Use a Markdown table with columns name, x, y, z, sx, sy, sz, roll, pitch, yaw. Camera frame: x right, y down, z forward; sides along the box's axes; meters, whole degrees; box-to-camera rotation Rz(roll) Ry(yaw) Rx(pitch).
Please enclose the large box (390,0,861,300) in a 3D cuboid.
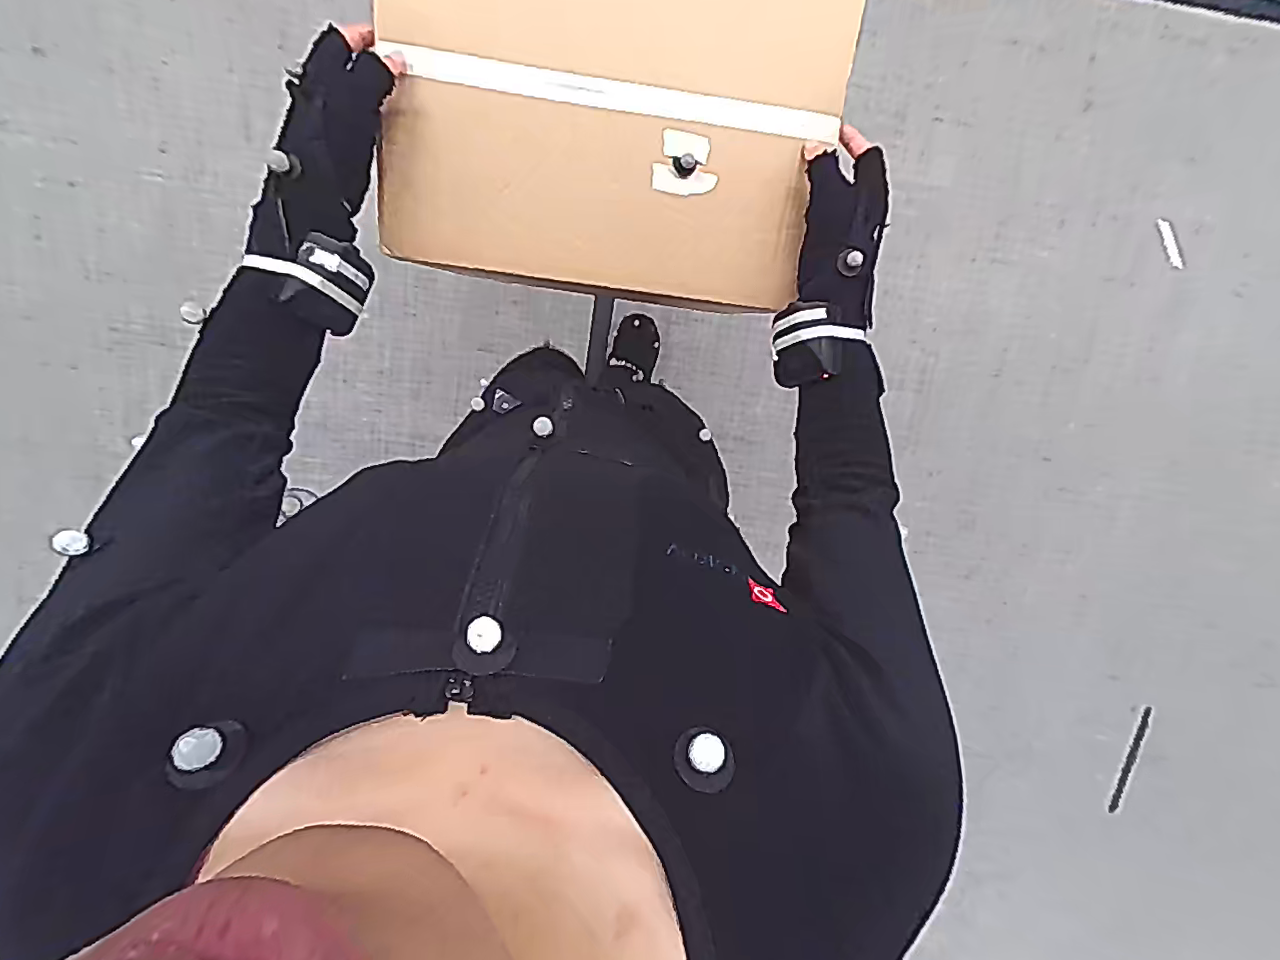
| name | x | y | z | sx | sy | sz | roll | pitch | yaw |
| --- | --- | --- | --- | --- | --- | --- | --- | --- | --- |
| large box | -0.027 | -0.391 | 0.617 | 0.408 | 0.320 | 0.320 | 5 | 107 | -6 |
